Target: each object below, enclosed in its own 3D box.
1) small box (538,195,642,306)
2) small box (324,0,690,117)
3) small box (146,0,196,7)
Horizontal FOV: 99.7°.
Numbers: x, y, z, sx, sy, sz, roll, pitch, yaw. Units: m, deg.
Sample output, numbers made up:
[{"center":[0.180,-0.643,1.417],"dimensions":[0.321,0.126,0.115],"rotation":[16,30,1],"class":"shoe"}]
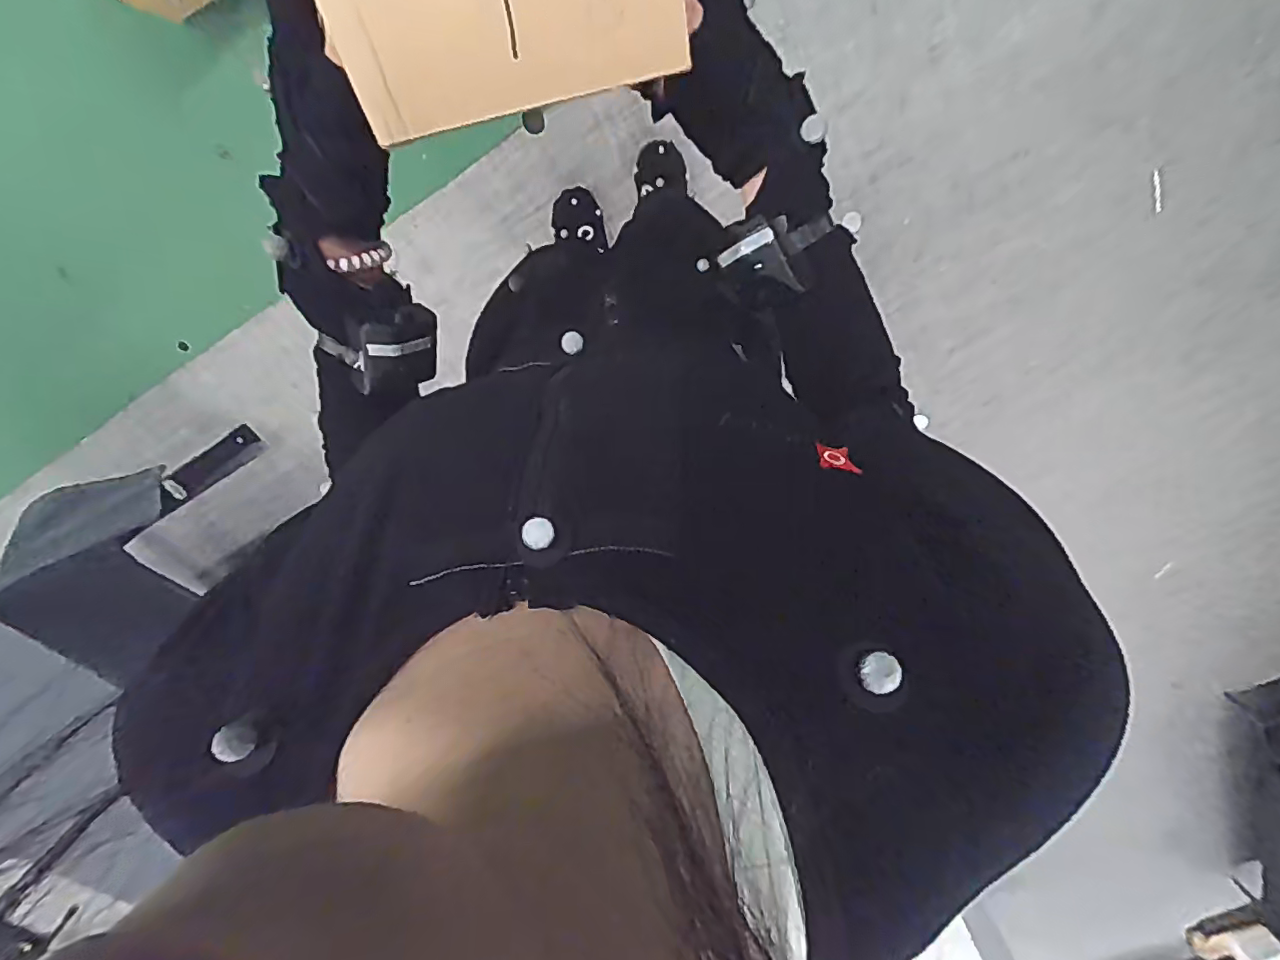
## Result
[{"center":[-0.120,-0.534,1.255],"dimensions":[0.179,0.176,0.168],"rotation":[29,125,-3],"class":"small box"},{"center":[-0.080,-0.310,0.281],"dimensions":[0.168,0.176,0.179],"rotation":[-13,127,1],"class":"small box"},{"center":[-0.846,-0.956,0.924],"dimensions":[0.168,0.176,0.179],"rotation":[-23,118,8],"class":"small box"}]
